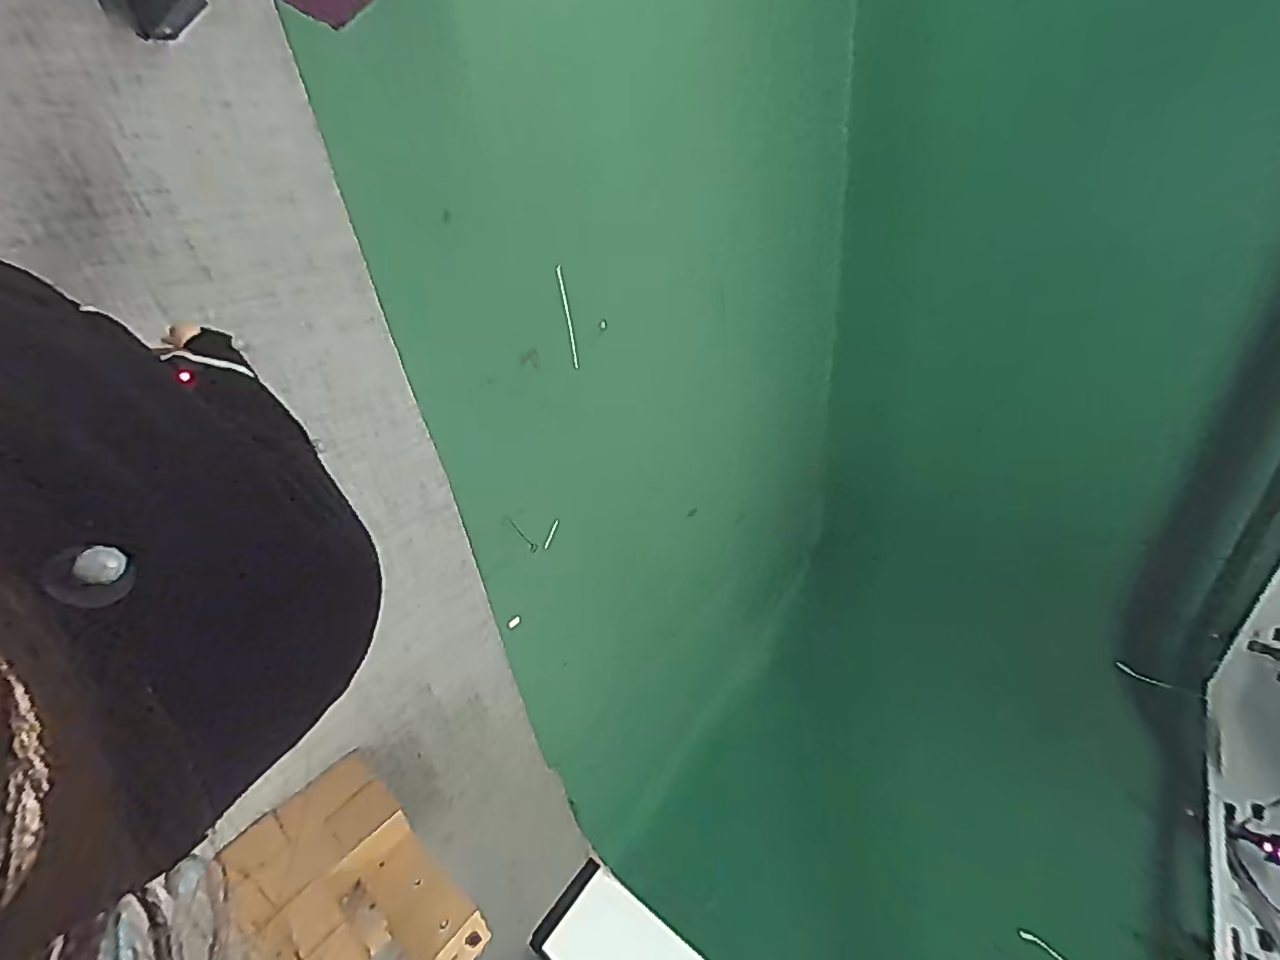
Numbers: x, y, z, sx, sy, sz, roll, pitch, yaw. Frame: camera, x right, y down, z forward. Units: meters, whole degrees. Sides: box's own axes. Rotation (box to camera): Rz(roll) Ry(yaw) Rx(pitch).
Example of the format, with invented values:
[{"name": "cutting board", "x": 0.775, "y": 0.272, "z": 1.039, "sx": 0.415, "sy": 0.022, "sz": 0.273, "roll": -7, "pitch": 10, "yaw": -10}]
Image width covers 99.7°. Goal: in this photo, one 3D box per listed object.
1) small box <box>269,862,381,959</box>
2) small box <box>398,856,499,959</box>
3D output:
[{"name": "small box", "x": -0.799, "y": 1.129, "z": 1.363, "sx": 0.179, "sy": 0.176, "sz": 0.168, "roll": -36, "pitch": 132, "yaw": -38}, {"name": "small box", "x": -0.519, "y": 1.181, "z": 1.471, "sx": 0.179, "sy": 0.176, "sz": 0.168, "roll": -37, "pitch": 132, "yaw": -40}]
